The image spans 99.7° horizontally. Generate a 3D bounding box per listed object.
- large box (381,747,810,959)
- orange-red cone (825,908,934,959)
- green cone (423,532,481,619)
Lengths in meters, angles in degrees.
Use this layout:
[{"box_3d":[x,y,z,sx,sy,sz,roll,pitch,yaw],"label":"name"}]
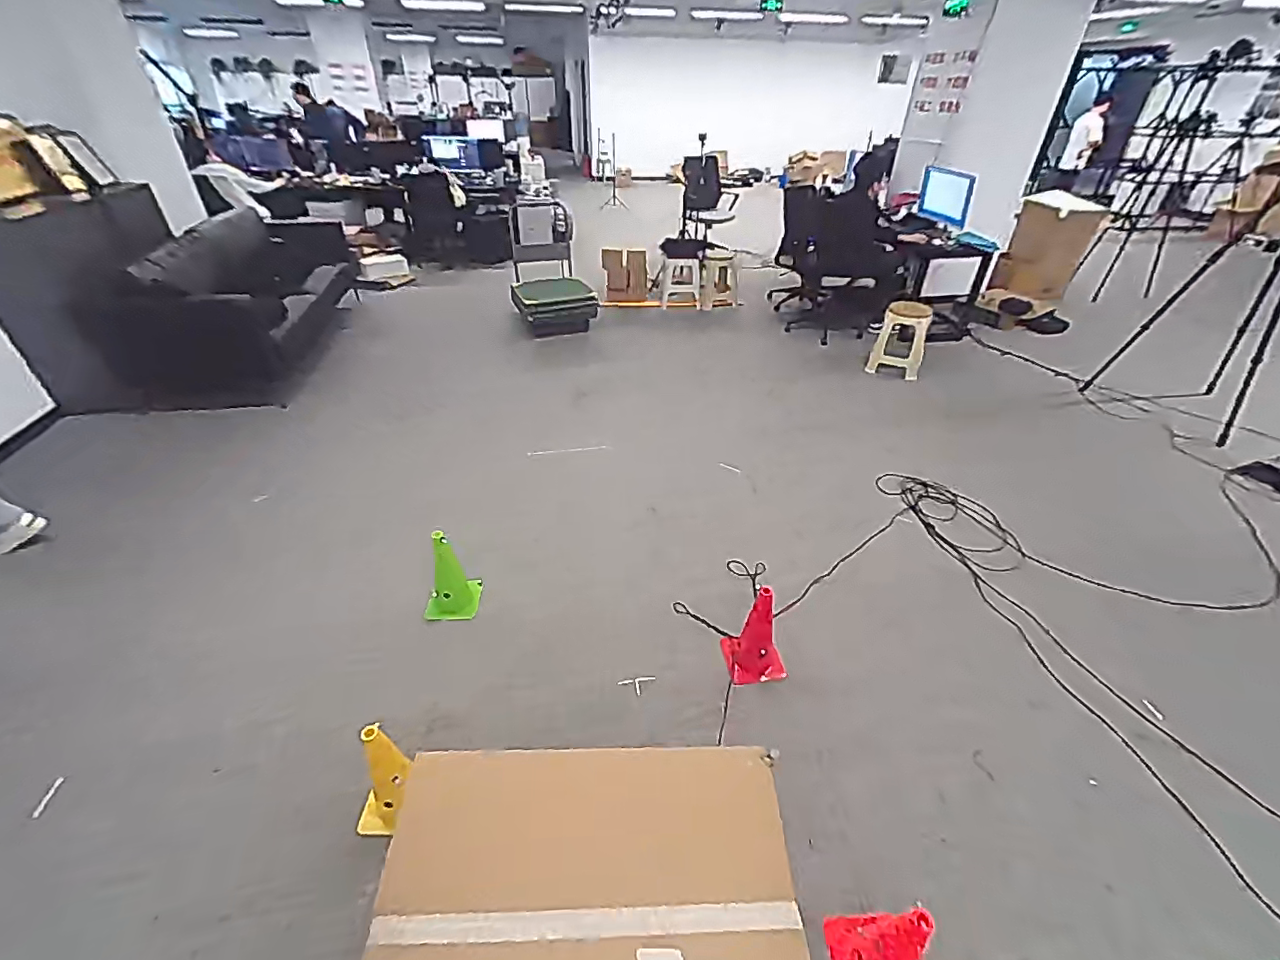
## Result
[{"box_3d":[-0.047,0.531,0.620,0.408,0.320,0.320,0,45,-3],"label":"large box"},{"box_3d":[0.560,1.010,1.177,0.199,0.360,0.198,0,37,-3],"label":"orange-red cone"},{"box_3d":[-0.753,0.340,2.069,0.200,0.368,0.202,-2,38,-3],"label":"green cone"}]
